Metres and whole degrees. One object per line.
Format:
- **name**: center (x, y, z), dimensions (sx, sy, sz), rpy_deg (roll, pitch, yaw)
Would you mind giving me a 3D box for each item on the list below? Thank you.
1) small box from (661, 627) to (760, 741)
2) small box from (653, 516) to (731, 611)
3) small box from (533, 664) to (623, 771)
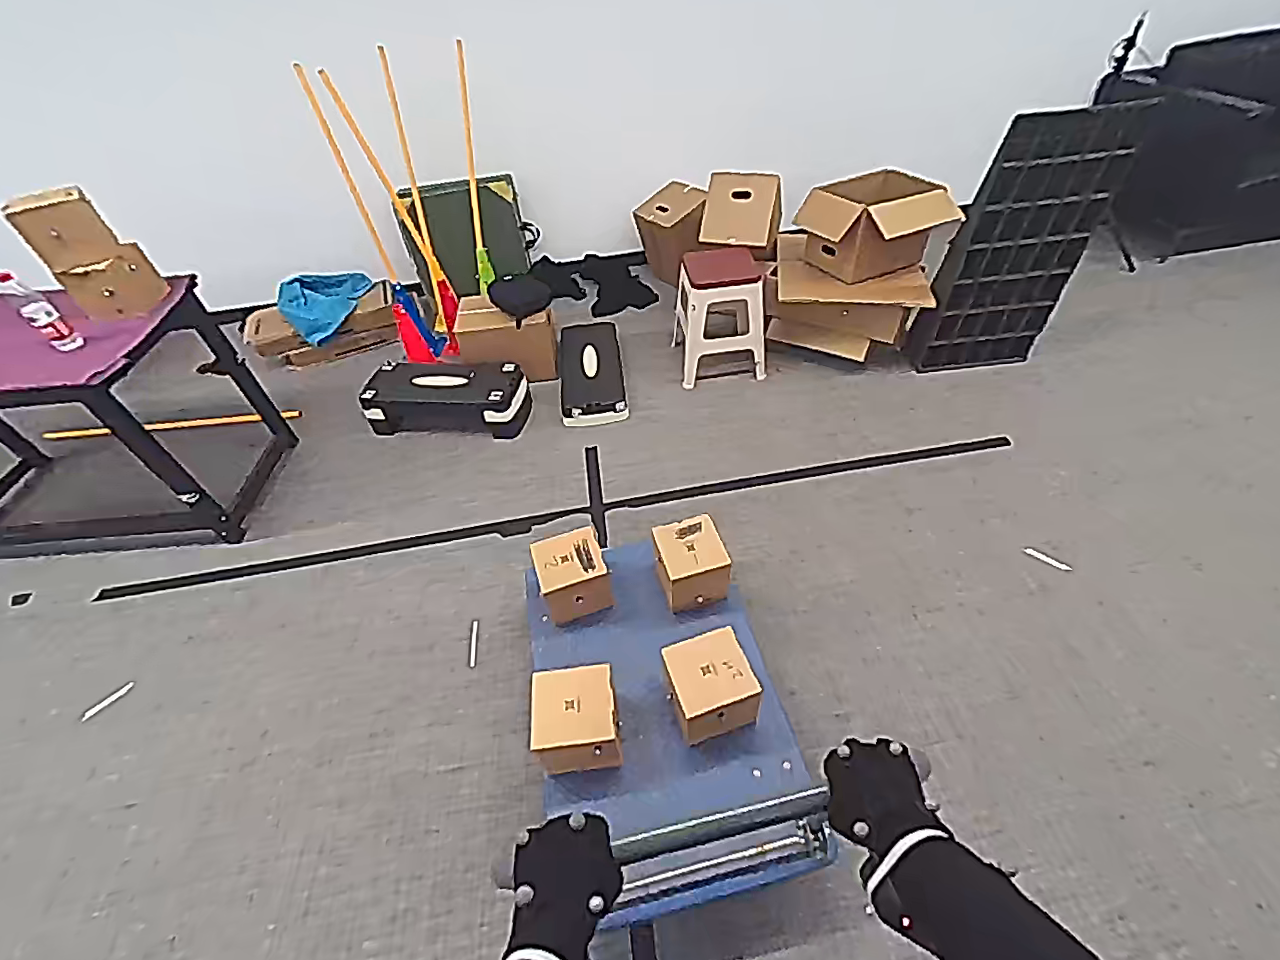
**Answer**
- **small box**: center (0.160, 0.474, 1.248), dimensions (0.179, 0.176, 0.168), rpy_deg (-16, 47, -9)
- **small box**: center (0.139, 0.230, 1.482), dimensions (0.168, 0.176, 0.179), rpy_deg (-14, 48, -8)
- **small box**: center (-0.137, 0.537, 1.218), dimensions (0.179, 0.176, 0.168), rpy_deg (-6, 46, -3)
